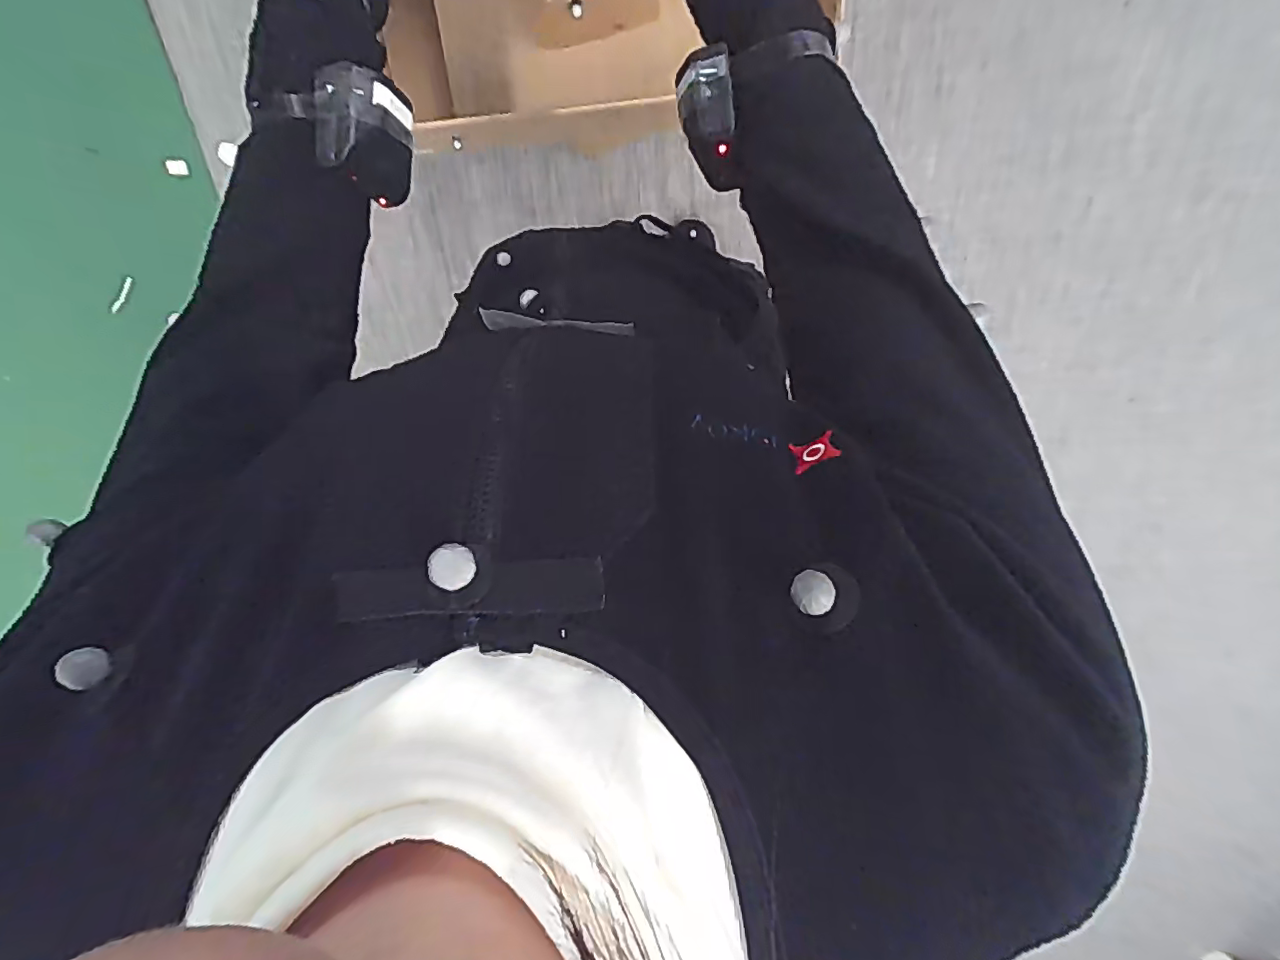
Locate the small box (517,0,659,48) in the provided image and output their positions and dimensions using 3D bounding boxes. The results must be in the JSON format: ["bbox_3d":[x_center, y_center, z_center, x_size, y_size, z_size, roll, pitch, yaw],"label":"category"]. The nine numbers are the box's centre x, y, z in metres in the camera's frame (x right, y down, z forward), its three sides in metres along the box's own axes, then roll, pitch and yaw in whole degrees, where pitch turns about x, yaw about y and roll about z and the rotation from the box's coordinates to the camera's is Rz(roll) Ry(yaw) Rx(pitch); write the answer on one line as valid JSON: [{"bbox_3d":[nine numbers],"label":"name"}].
[{"bbox_3d":[-0.073,-0.667,0.649,0.168,0.176,0.179,-9,114,9],"label":"small box"}]
